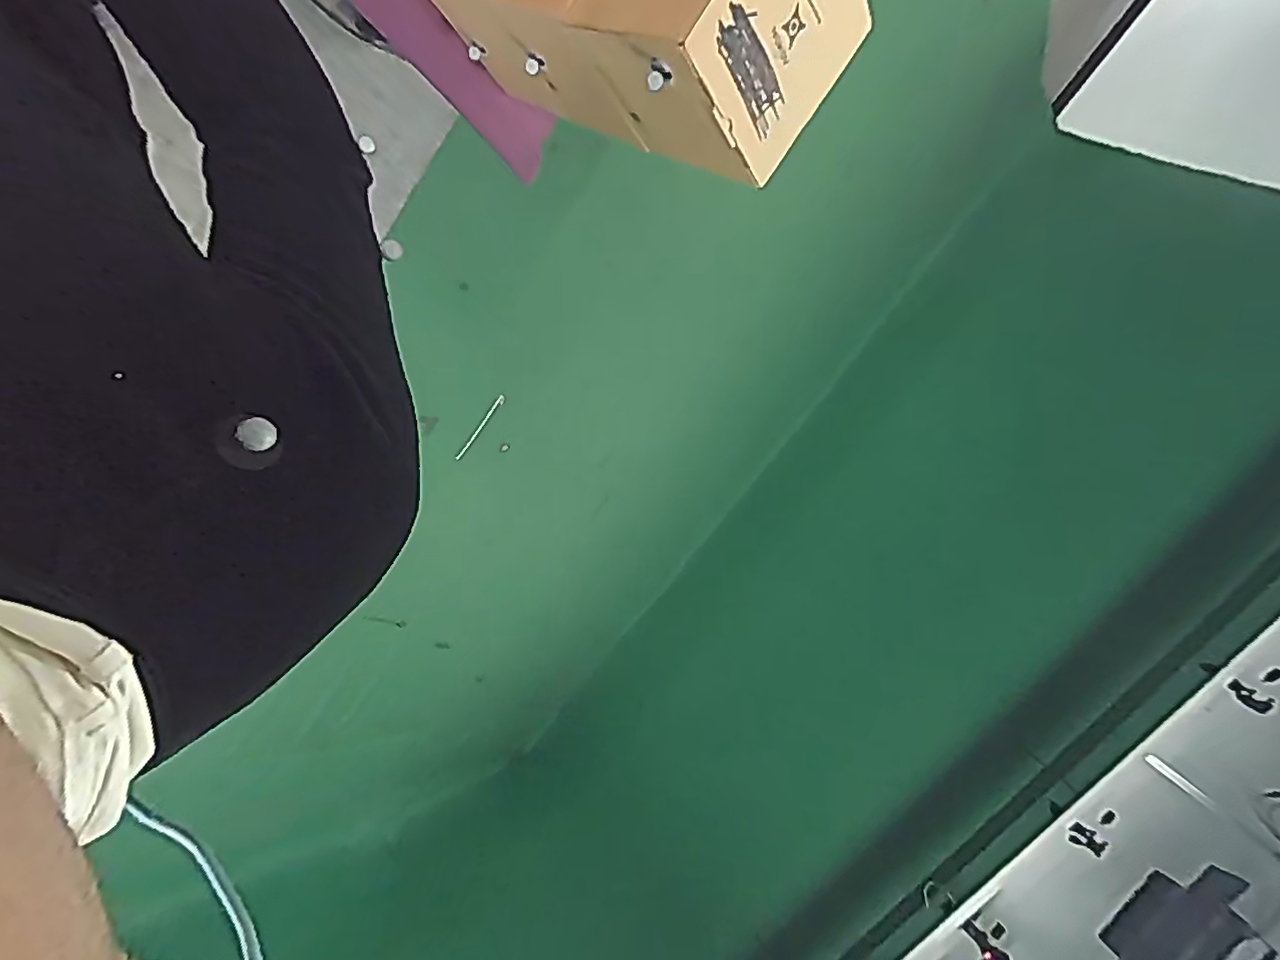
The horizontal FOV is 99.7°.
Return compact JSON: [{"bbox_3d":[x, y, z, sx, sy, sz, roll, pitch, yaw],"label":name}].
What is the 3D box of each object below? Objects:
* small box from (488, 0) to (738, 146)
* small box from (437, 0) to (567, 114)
[{"bbox_3d":[-0.031,-0.516,0.586,0.179,0.176,0.168,-51,147,7],"label":"small box"},{"bbox_3d":[-0.136,-0.610,0.669,0.168,0.176,0.179,-52,149,7],"label":"small box"}]
